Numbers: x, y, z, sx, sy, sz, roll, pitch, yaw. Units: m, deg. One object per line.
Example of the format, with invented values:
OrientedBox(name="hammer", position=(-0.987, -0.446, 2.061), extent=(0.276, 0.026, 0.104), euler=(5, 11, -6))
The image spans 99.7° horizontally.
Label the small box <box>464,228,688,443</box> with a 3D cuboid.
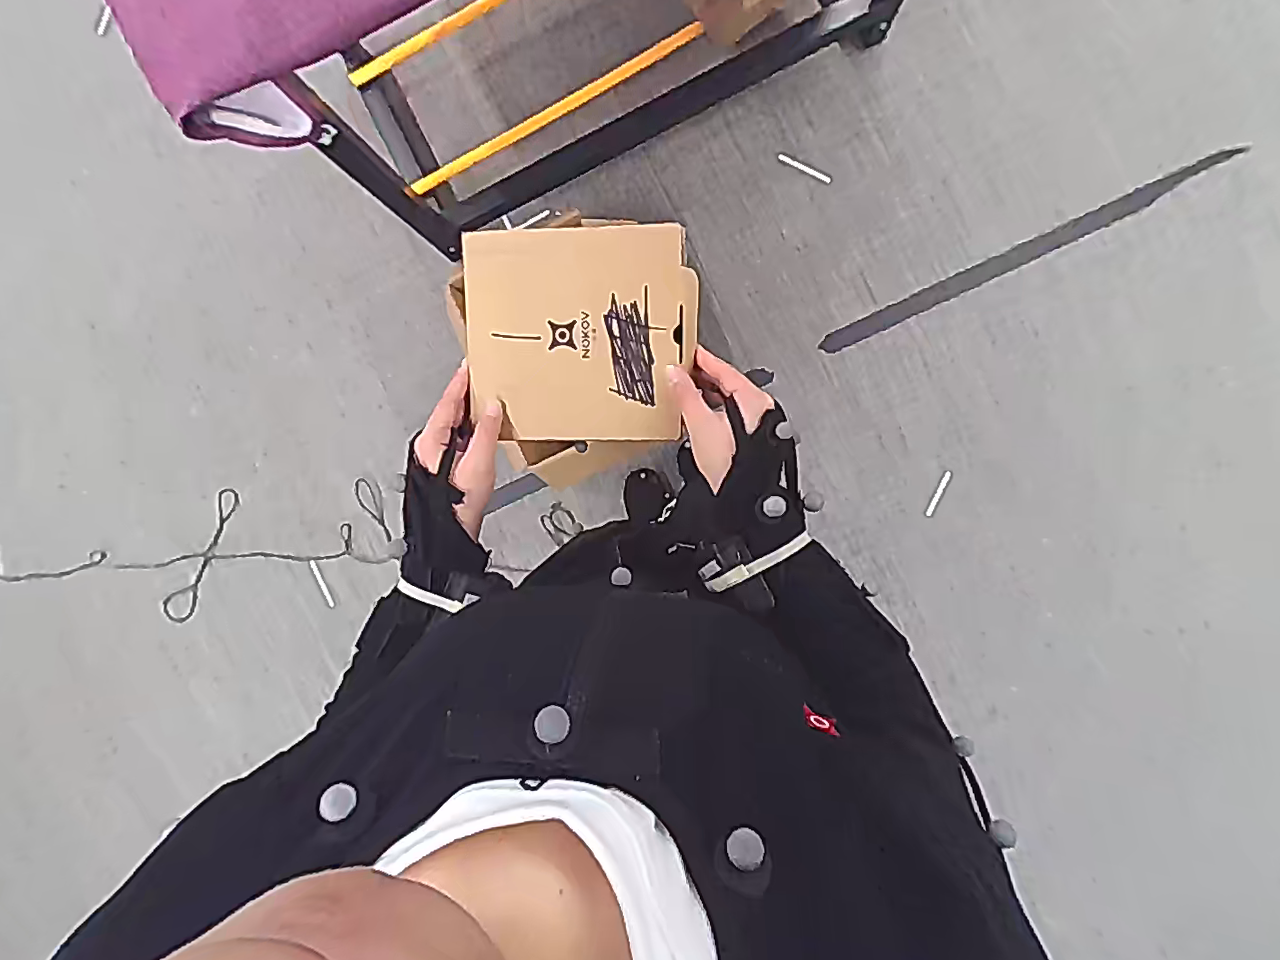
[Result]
OrientedBox(name="small box", position=(-0.045, -0.124, 0.505), extent=(0.179, 0.176, 0.168), euler=(1, 98, 5))
